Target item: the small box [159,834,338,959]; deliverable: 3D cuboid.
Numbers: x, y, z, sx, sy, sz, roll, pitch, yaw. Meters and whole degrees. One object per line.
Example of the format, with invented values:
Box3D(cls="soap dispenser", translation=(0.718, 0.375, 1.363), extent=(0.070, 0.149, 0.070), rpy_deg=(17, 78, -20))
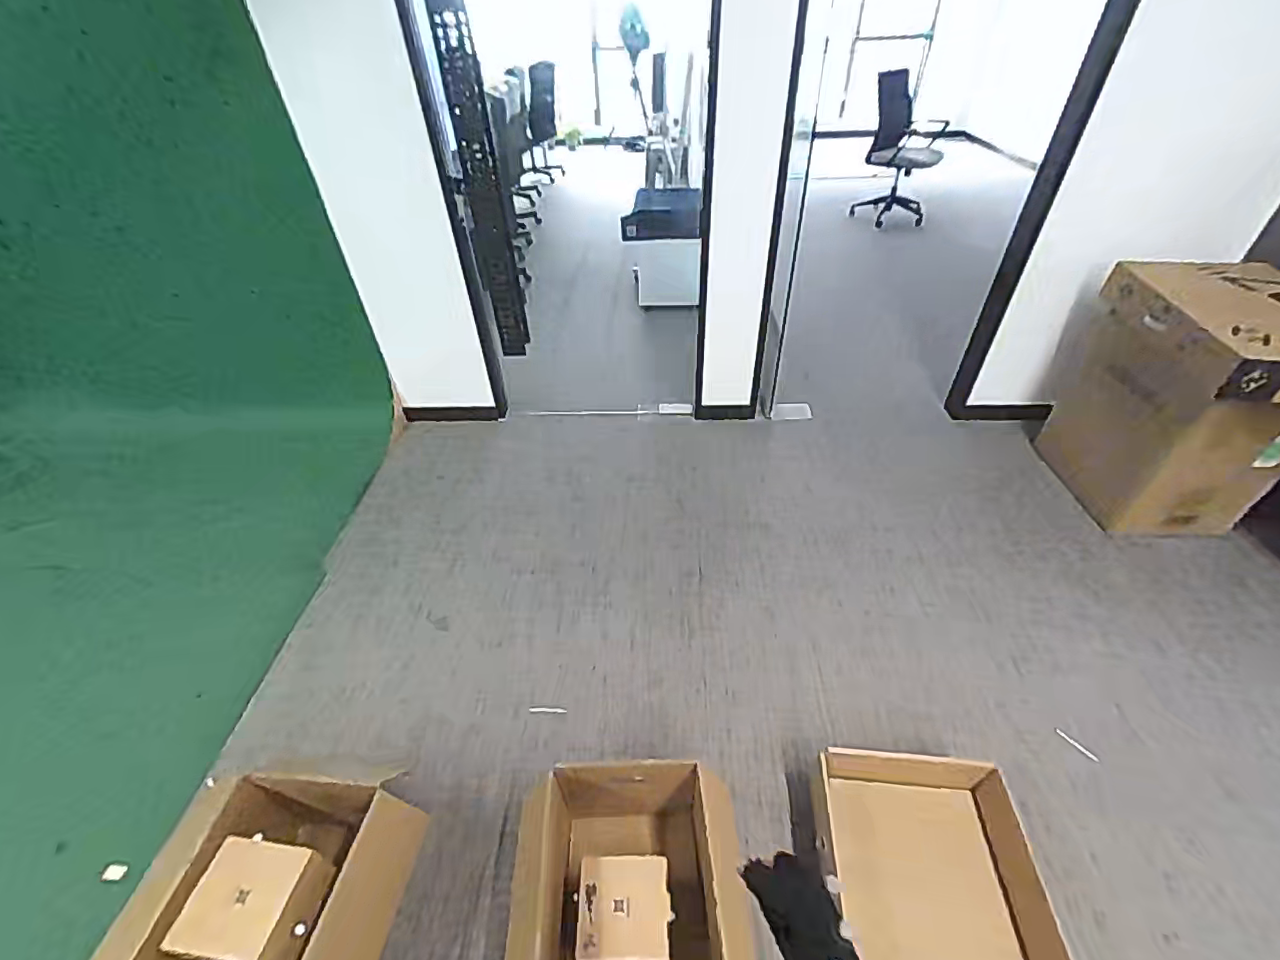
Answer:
Box3D(cls="small box", translation=(-0.700, 0.783, 0.995), extent=(0.179, 0.176, 0.168), rpy_deg=(4, 41, 6))
